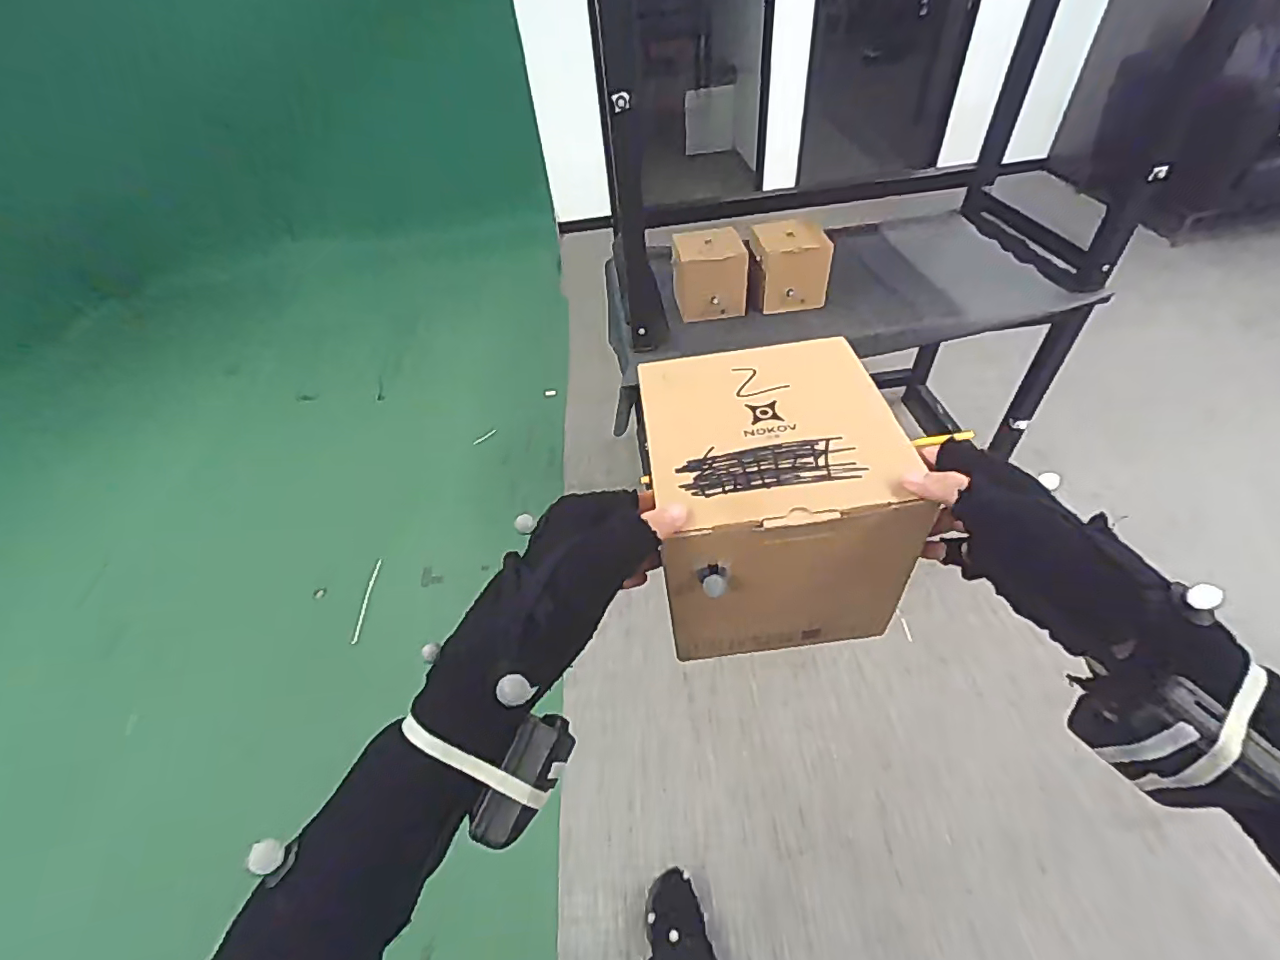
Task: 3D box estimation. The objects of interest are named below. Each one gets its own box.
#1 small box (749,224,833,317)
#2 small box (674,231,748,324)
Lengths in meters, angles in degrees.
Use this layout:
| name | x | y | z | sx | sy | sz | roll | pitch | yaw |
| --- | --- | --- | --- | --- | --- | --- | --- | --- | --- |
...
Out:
| name | x | y | z | sx | sy | sz | roll | pitch | yaw |
| --- | --- | --- | --- | --- | --- | --- | --- | --- | --- |
| small box | 0.389 | -0.553 | 1.430 | 0.168 | 0.176 | 0.179 | -7 | 46 | 0 |
| small box | 0.182 | -0.534 | 1.431 | 0.168 | 0.176 | 0.179 | -8 | 45 | 0 |
